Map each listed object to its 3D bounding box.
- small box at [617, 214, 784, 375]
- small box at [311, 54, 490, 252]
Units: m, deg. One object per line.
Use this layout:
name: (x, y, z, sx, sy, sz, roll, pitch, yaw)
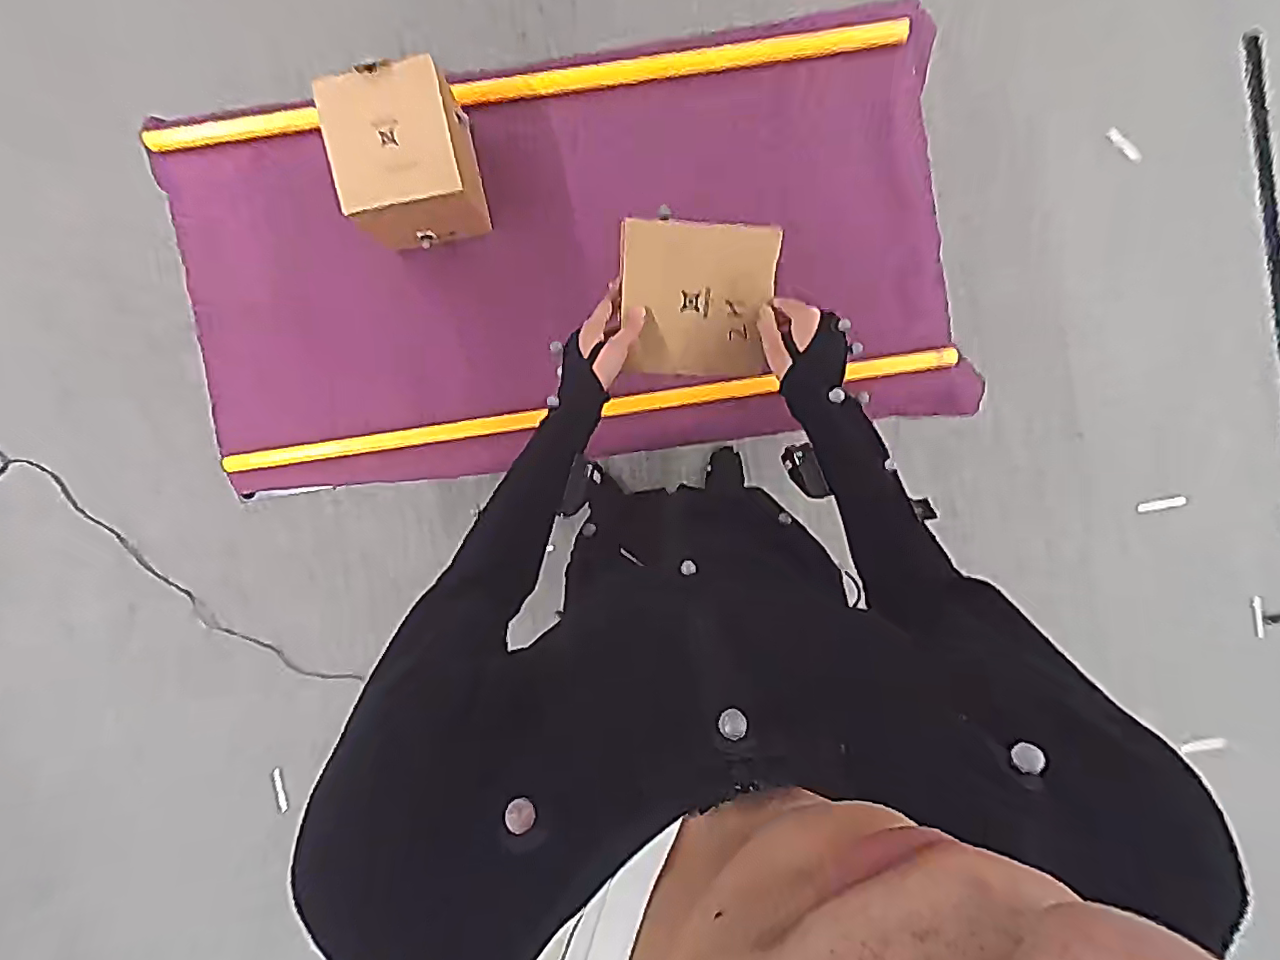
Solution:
small box: (0.062, -0.237, 0.686, 0.179, 0.176, 0.168, 2, 114, -4)
small box: (-0.333, -0.459, 0.786, 0.168, 0.176, 0.179, -12, 95, 0)
